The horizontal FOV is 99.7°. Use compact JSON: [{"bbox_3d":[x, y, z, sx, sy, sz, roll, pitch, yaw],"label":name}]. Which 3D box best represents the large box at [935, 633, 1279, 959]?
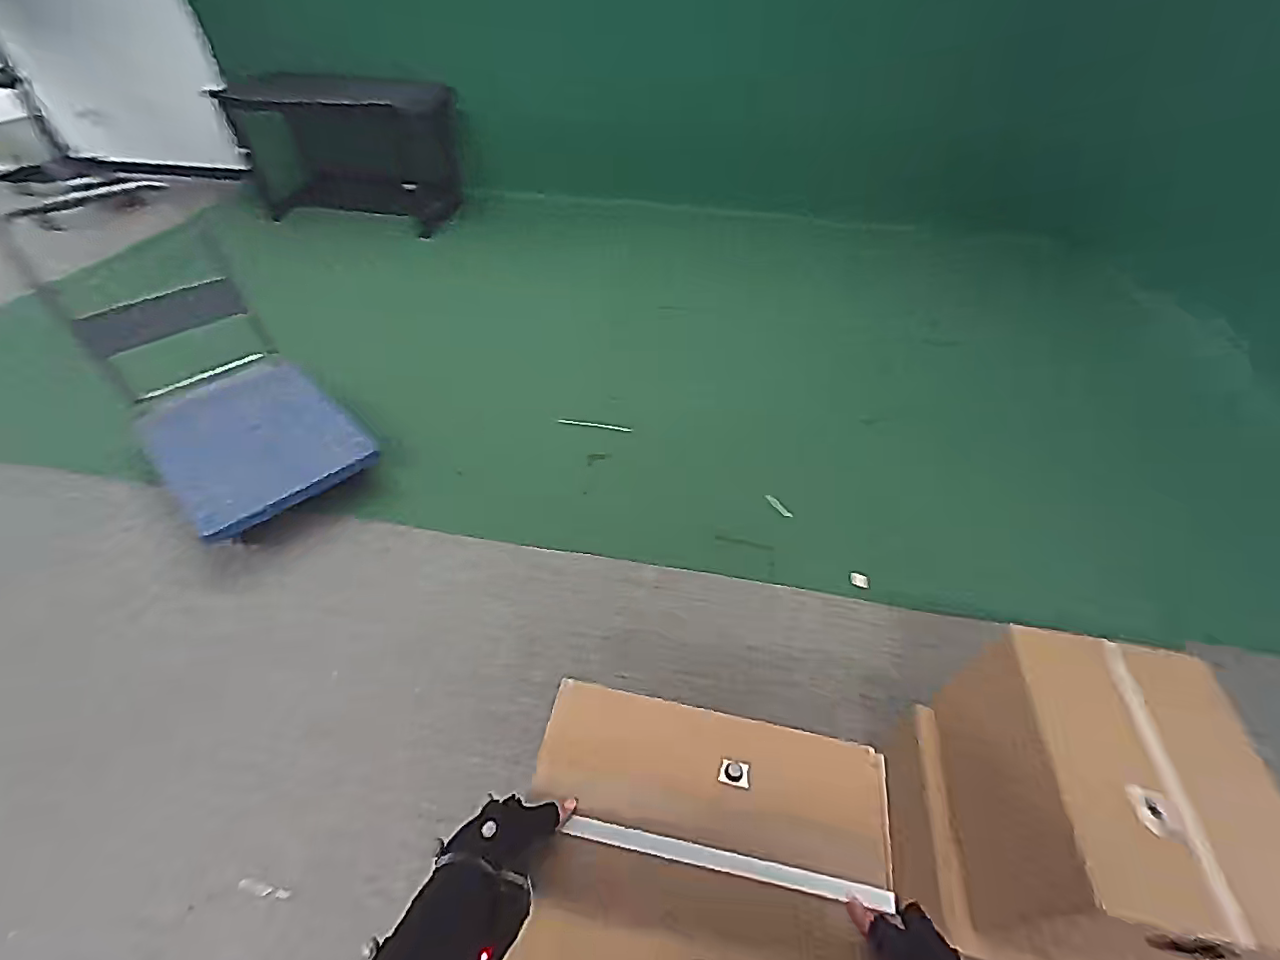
[{"bbox_3d":[0.741,0.528,0.891,0.320,0.320,0.408,11,47,6],"label":"large box"}]
